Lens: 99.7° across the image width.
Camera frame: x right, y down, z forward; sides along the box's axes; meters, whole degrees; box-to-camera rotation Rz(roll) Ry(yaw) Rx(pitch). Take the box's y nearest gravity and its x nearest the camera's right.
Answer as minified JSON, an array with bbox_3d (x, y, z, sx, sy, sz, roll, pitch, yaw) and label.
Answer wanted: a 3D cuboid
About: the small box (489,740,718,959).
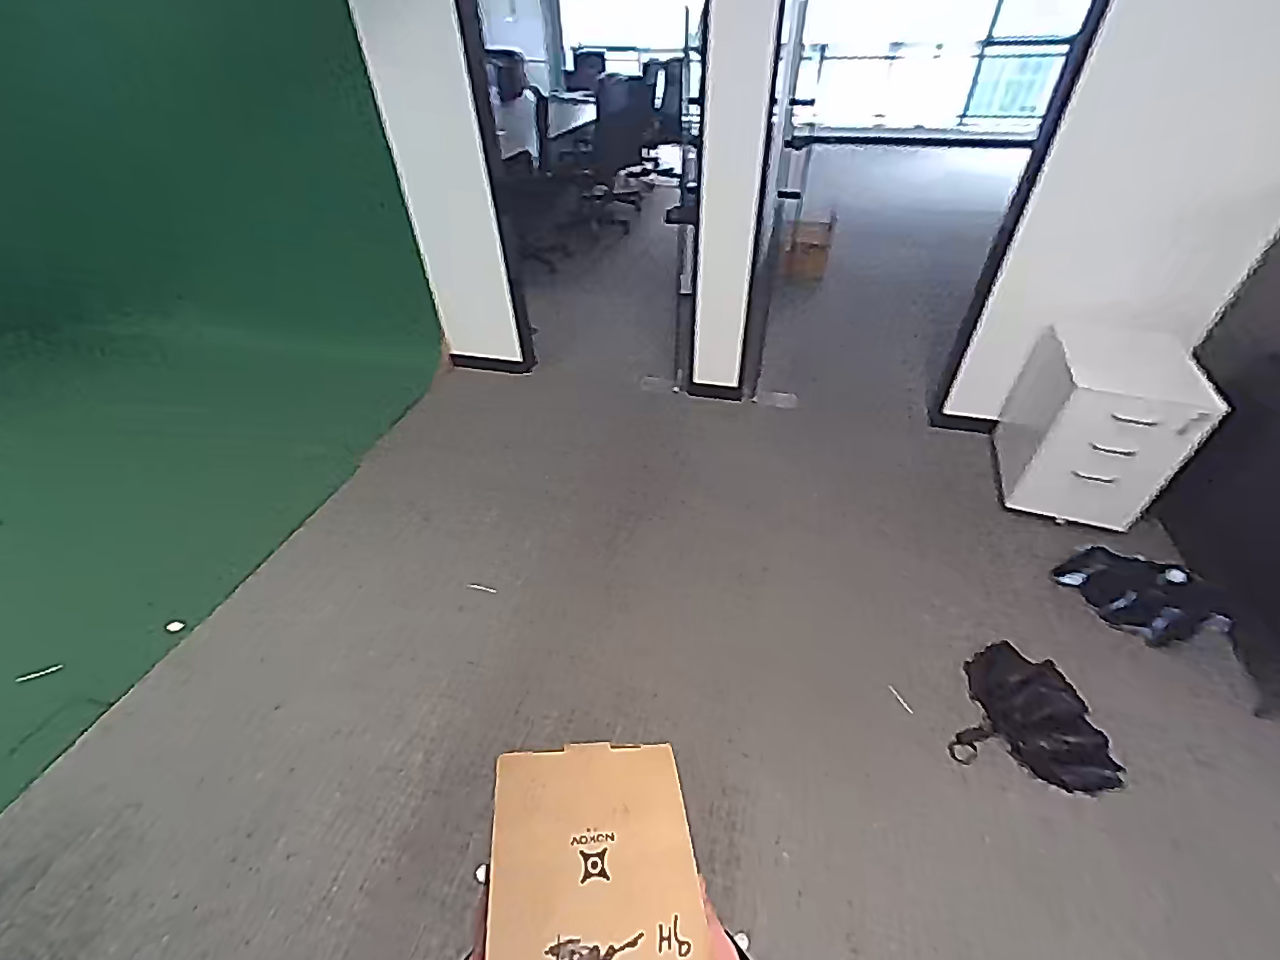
[{"bbox_3d":[-0.047,0.365,0.487,0.168,0.176,0.179,2,36,-13],"label":"small box"}]
